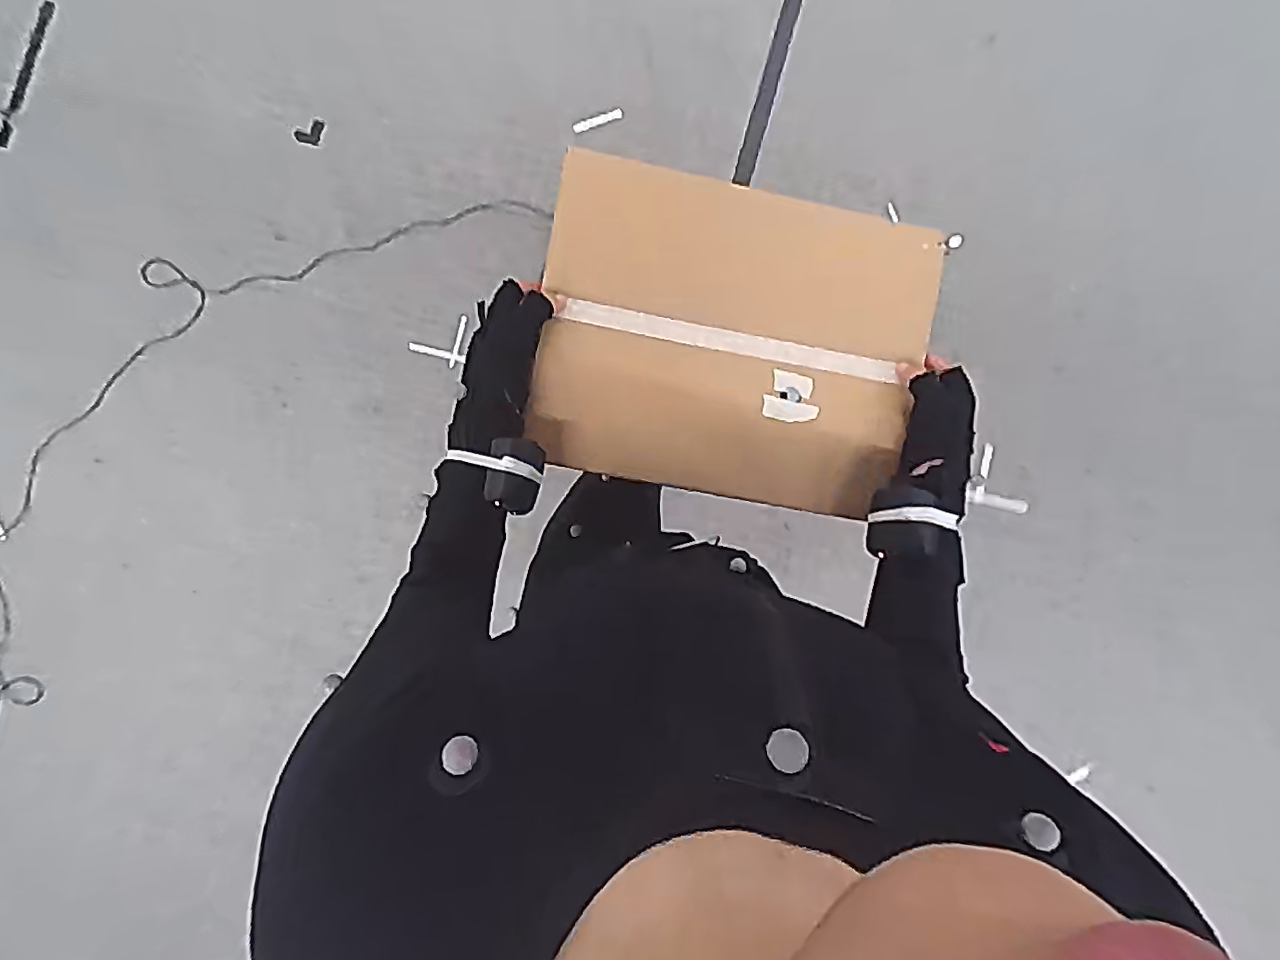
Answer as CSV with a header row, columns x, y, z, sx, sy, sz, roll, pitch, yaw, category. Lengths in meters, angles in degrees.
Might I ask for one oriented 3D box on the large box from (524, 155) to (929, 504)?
x,y,z,sx,sy,sz,roll,pitch,yaw,category
0.082,-0.159,0.720,0.408,0.320,0.320,10,93,-5,large box
